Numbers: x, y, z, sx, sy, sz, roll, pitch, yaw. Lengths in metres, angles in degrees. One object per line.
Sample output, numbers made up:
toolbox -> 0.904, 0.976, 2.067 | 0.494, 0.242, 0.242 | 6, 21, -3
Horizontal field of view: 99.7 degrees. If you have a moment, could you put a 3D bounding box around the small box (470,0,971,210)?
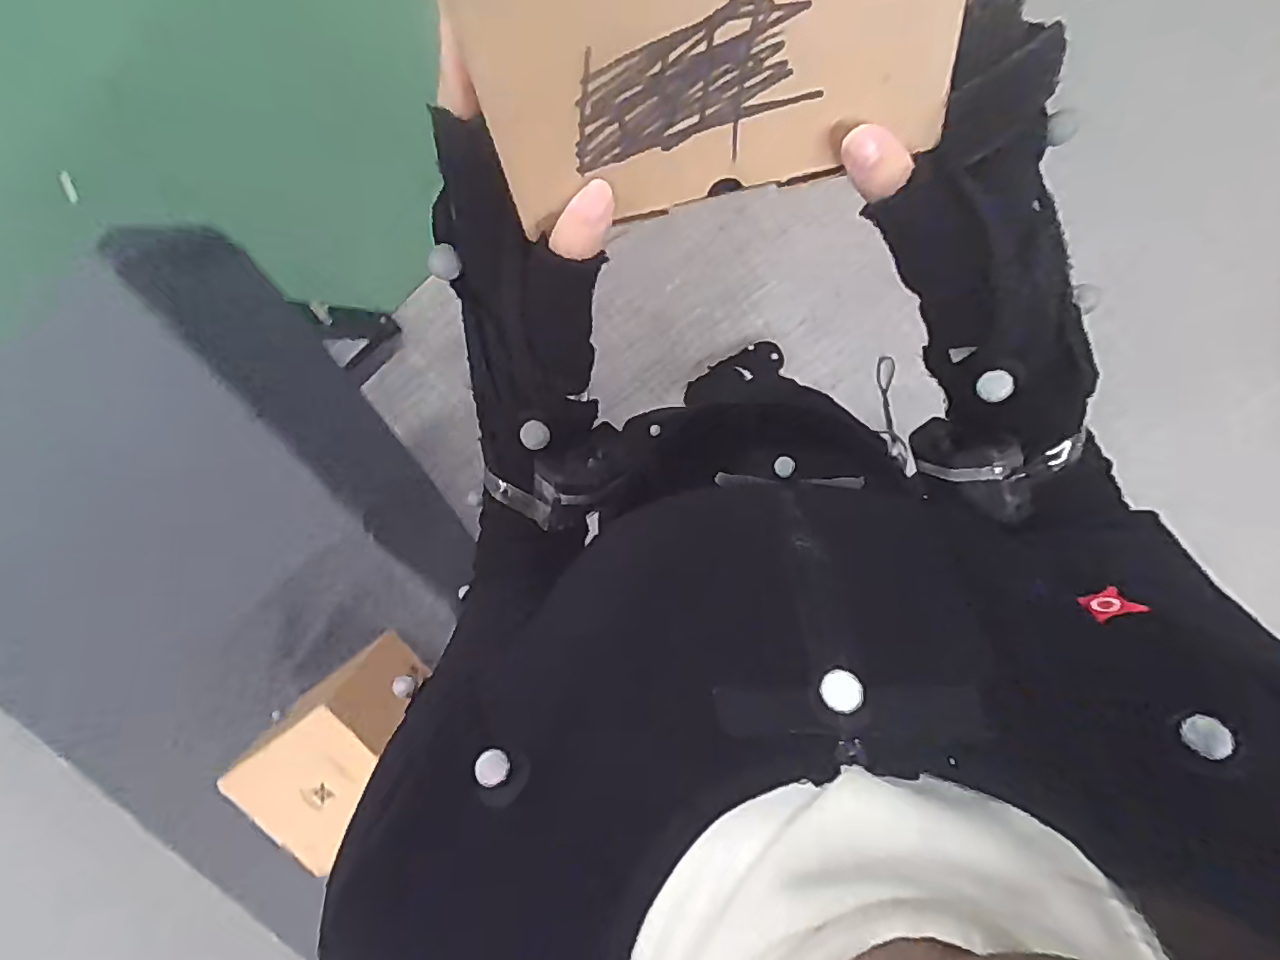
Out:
small box -> 0.018, -0.239, 0.207 | 0.168, 0.176, 0.179 | -10, 136, 6

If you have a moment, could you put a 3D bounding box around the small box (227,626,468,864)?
small box -> -0.354, 0.326, 0.693 | 0.179, 0.176, 0.168 | -38, 100, 9
